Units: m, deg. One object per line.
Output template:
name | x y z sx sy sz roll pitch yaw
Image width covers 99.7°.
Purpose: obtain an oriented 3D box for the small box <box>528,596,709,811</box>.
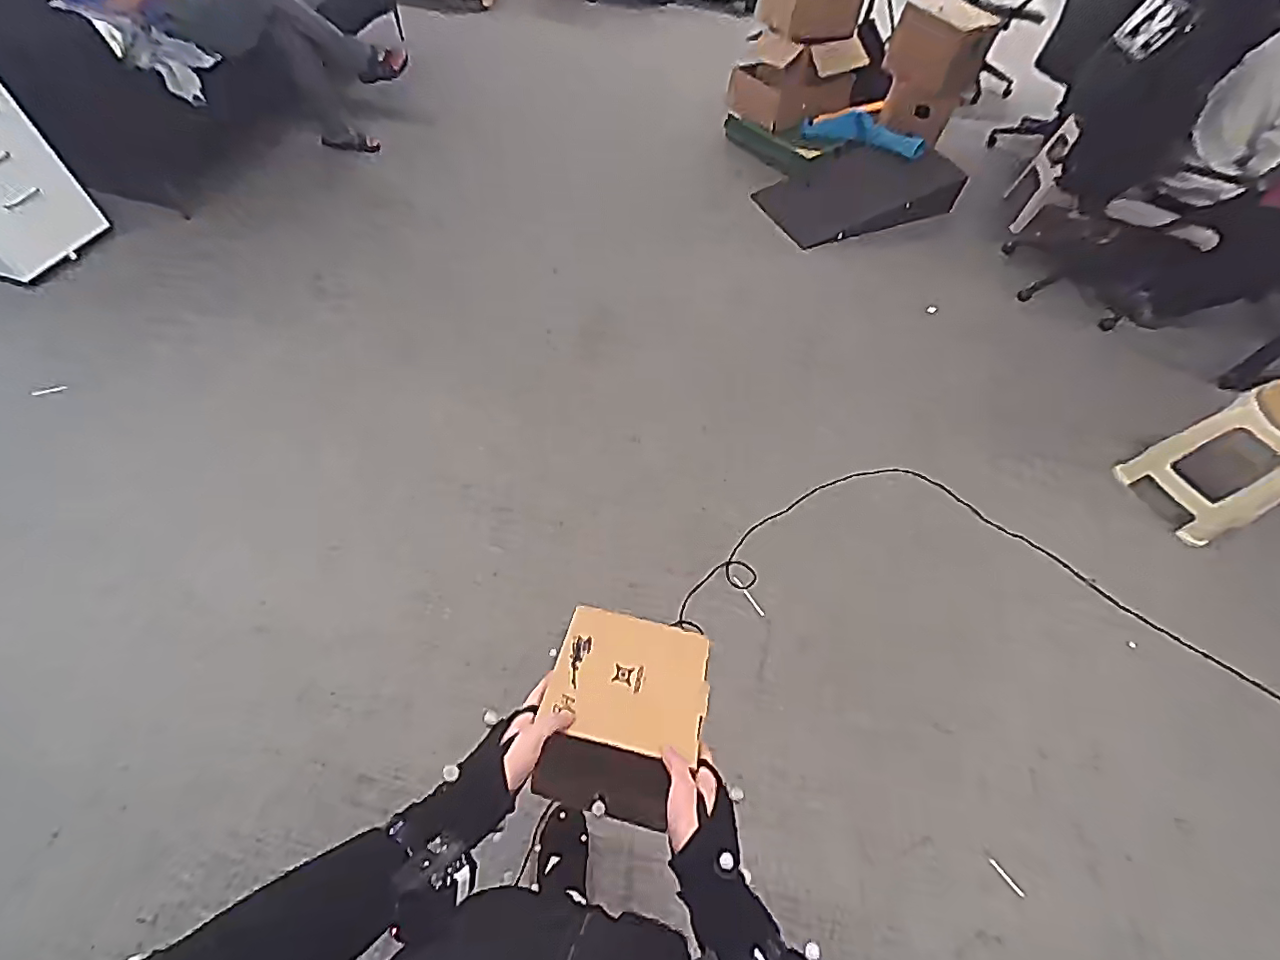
small box | -0.027 0.279 0.670 0.179 0.176 0.168 15 37 3
